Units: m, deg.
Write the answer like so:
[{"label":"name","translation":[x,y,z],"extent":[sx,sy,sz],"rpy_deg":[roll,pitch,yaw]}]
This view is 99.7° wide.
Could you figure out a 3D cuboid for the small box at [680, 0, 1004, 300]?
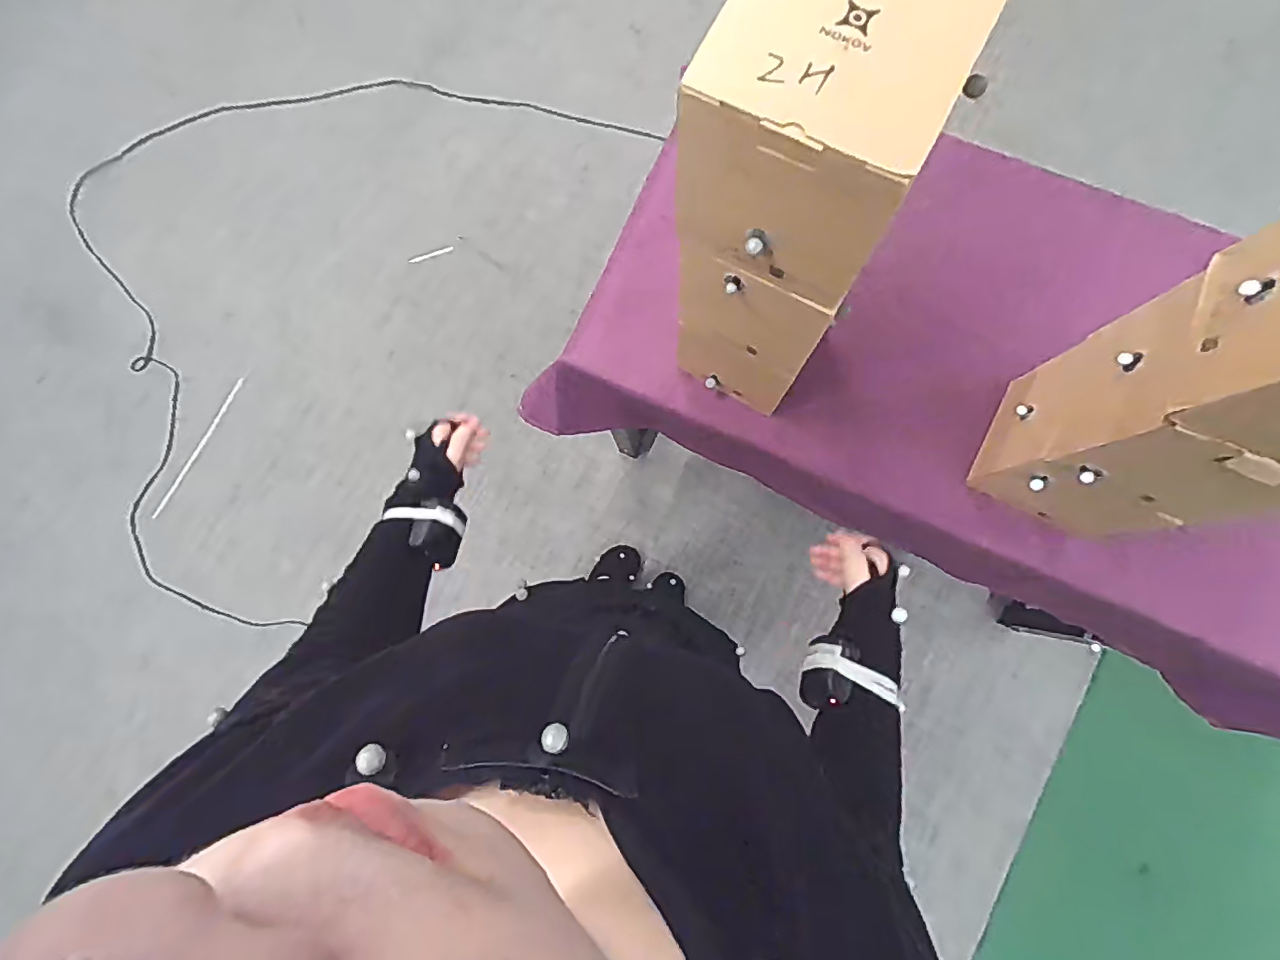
[{"label":"small box","translation":[0.139,-0.284,0.436],"extent":[0.168,0.176,0.179],"rpy_deg":[28,84,8]}]

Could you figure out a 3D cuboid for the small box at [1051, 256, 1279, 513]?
[{"label":"small box","translation":[0.567,-0.079,0.545],"extent":[0.168,0.176,0.179],"rpy_deg":[24,82,7]}]

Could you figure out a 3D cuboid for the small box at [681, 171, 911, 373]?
[{"label":"small box","translation":[0.154,-0.251,0.597],"extent":[0.168,0.176,0.179],"rpy_deg":[29,83,9]}]

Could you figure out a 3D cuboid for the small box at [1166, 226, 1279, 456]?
[{"label":"small box","translation":[0.555,-0.109,0.386],"extent":[0.179,0.176,0.168],"rpy_deg":[23,82,8]}]

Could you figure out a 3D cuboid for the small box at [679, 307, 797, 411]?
[{"label":"small box","translation":[0.164,-0.224,0.760],"extent":[0.168,0.176,0.179],"rpy_deg":[30,84,8]}]
